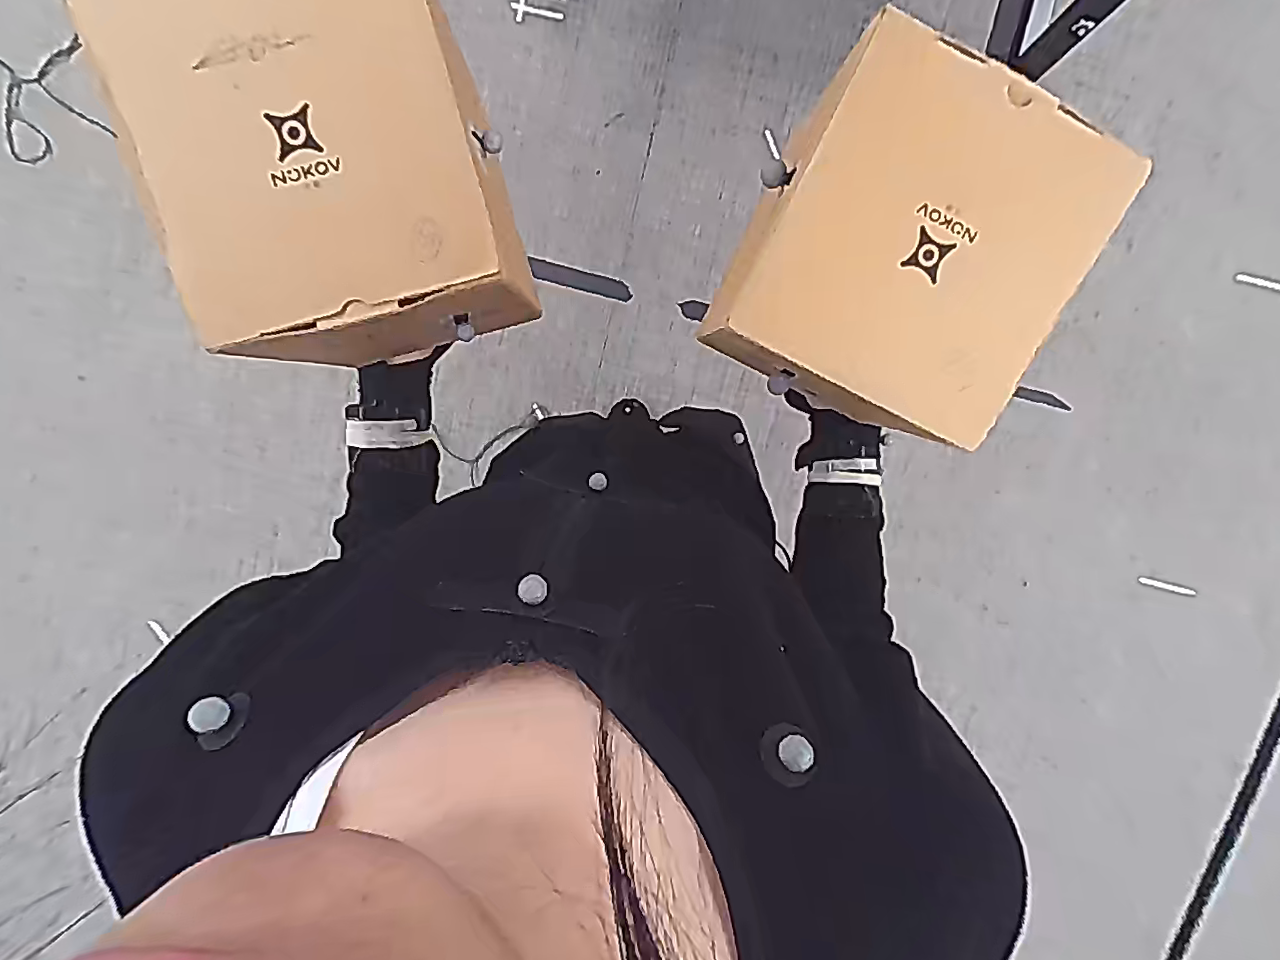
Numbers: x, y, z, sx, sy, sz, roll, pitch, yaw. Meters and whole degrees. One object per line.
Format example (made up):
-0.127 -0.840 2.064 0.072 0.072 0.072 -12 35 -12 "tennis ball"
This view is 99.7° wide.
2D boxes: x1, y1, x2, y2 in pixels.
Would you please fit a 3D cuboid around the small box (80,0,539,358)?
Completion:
-0.173 -0.183 0.352 0.168 0.176 0.179 -16 99 -2 "small box"

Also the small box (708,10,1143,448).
0.158 -0.143 0.373 0.168 0.176 0.179 26 100 -5 "small box"
